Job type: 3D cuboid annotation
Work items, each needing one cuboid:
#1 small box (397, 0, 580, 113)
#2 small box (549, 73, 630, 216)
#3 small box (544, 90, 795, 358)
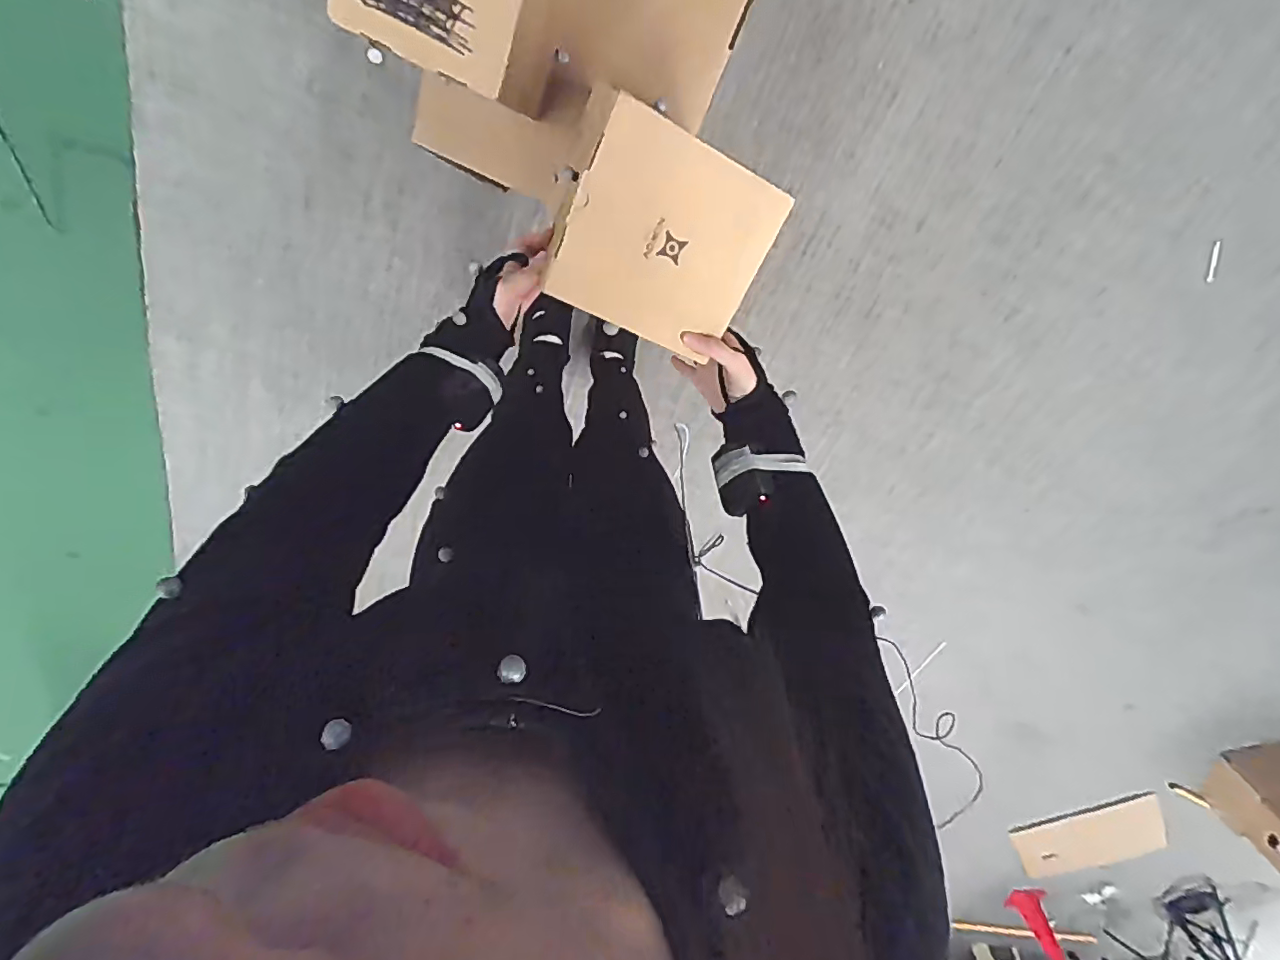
[{"bbox_3d":[-0.180,-0.605,0.688,0.168,0.176,0.179,23,117,-15],"label":"small box"},{"bbox_3d":[-0.019,-0.447,0.792,0.168,0.176,0.179,22,117,-17],"label":"small box"},{"bbox_3d":[0.015,-0.252,0.543,0.179,0.176,0.168,20,115,-20],"label":"small box"}]
